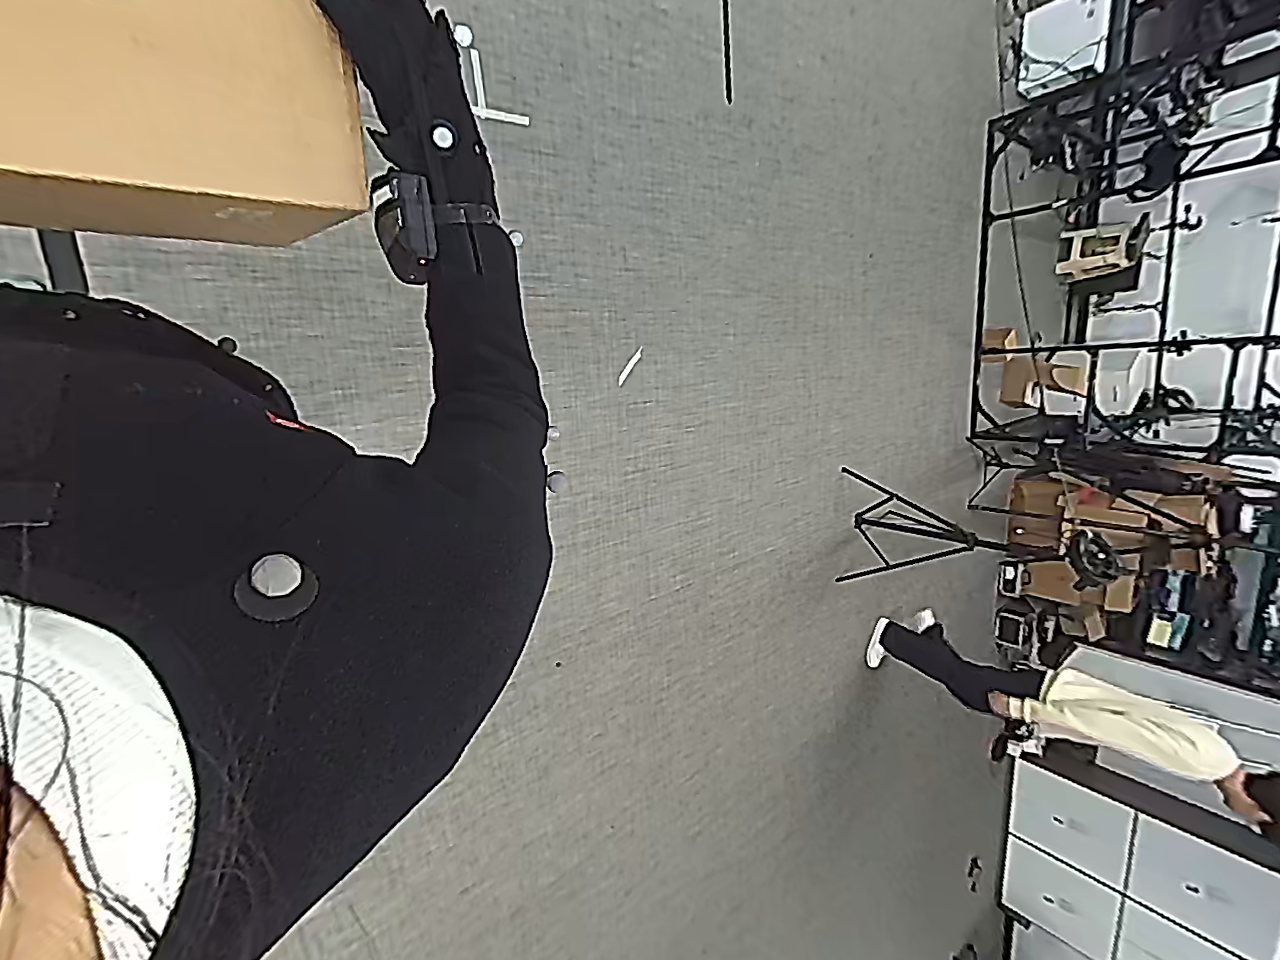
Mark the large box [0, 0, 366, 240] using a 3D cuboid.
[{"bbox_3d":[-0.451,-0.340,0.335,0.408,0.320,0.320,-15,114,-40],"label":"large box"}]
